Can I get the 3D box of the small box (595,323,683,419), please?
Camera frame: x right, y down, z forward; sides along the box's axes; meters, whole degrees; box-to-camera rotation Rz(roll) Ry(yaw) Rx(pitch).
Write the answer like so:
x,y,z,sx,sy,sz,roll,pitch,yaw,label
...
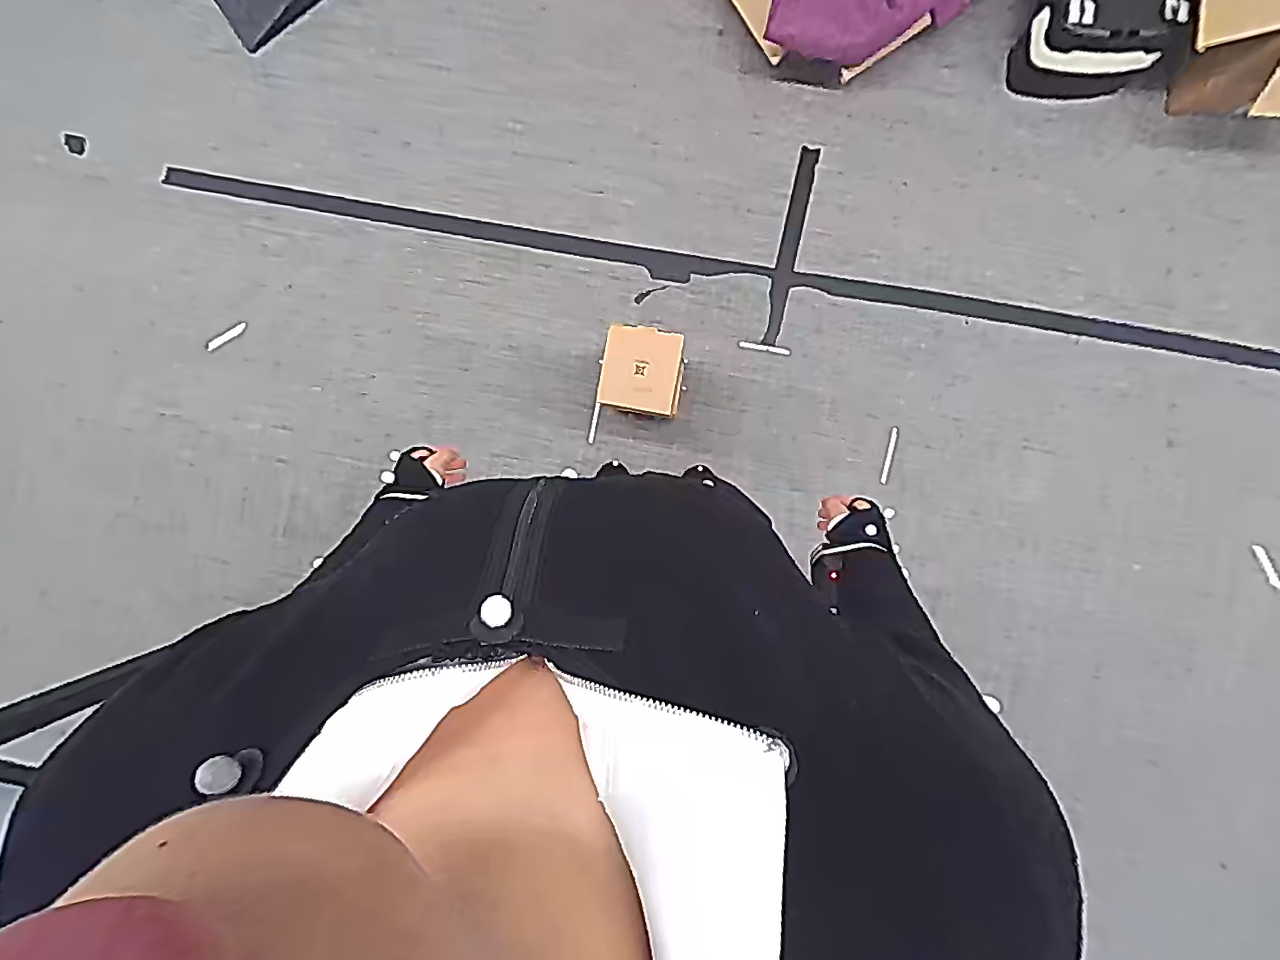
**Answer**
x,y,z,sx,sy,sz,roll,pitch,yaw,label
0.002,-0.243,1.243,0.168,0.176,0.179,11,95,4,small box
